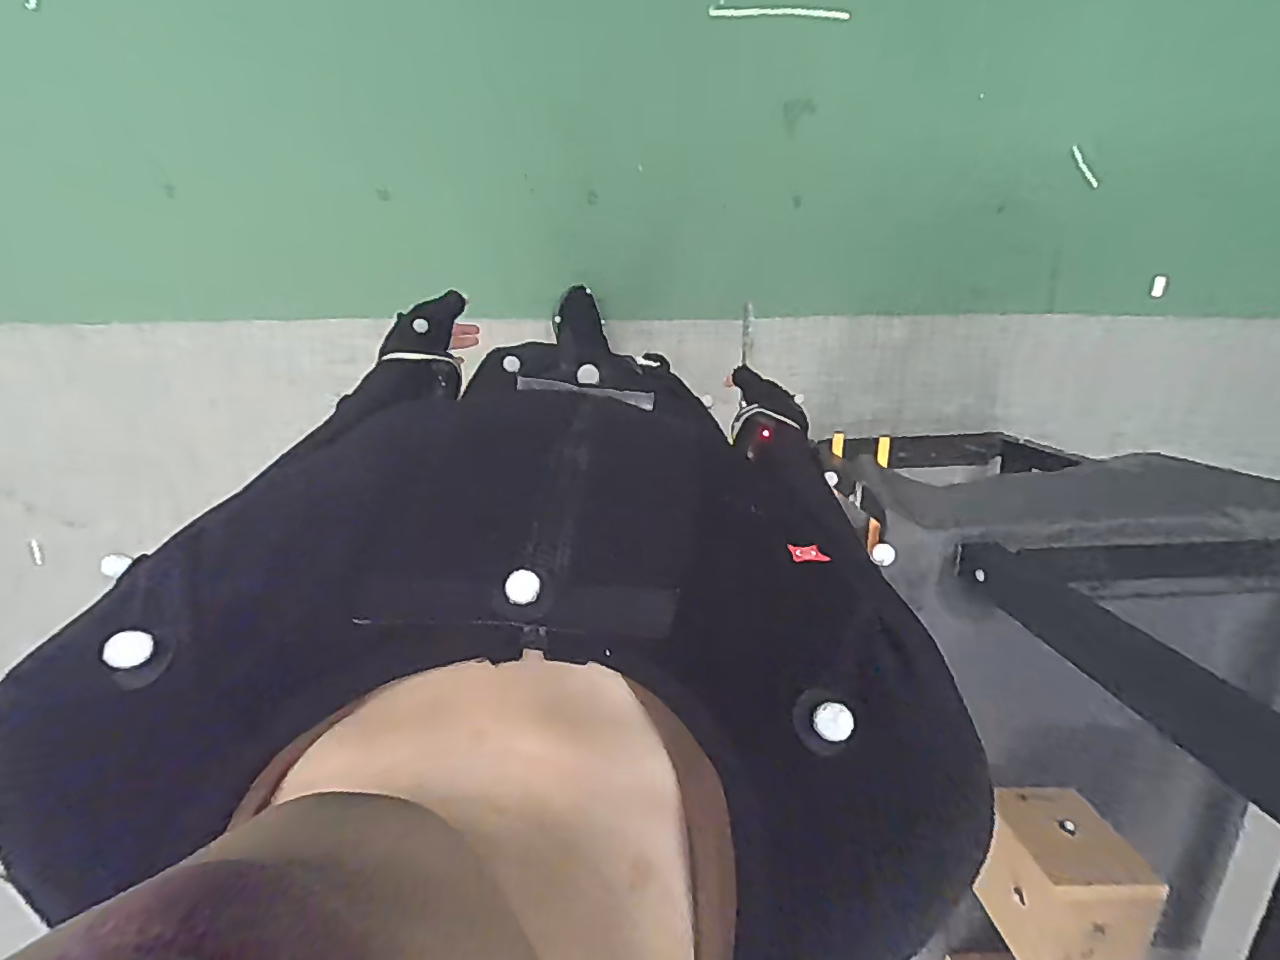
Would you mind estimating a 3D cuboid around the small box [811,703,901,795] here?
[{"bbox_3d":[0.590,0.741,1.503,0.179,0.176,0.168,2,105,-2],"label":"small box"}]

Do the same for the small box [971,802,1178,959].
[{"bbox_3d":[0.644,0.626,0.827,0.168,0.176,0.179,1,105,-1],"label":"small box"}]
